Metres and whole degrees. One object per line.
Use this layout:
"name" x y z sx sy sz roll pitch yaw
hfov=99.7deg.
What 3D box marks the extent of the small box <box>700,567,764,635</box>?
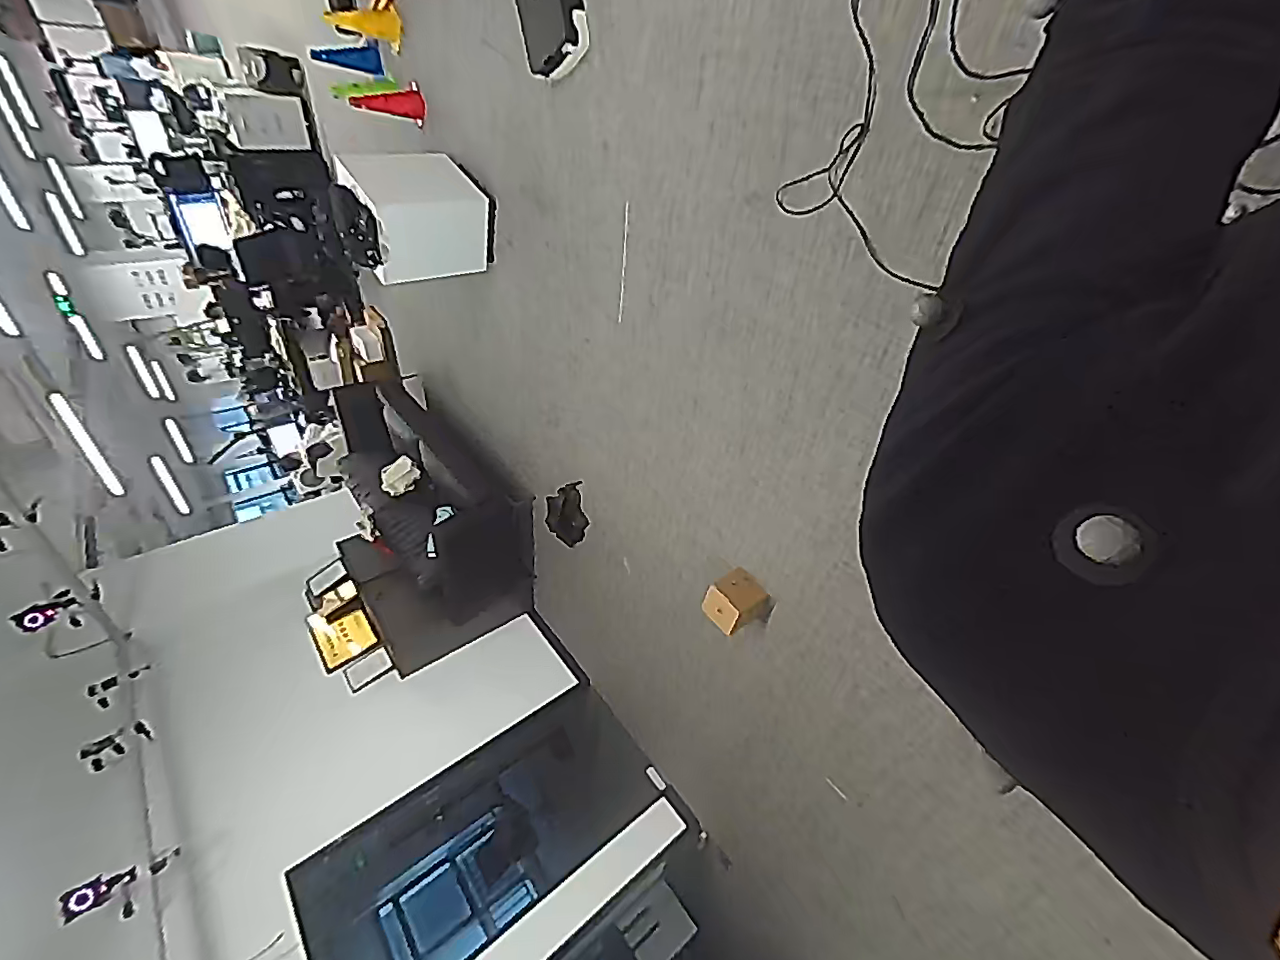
"small box" 0.373 0.484 2.179 0.168 0.176 0.179 45 142 32
